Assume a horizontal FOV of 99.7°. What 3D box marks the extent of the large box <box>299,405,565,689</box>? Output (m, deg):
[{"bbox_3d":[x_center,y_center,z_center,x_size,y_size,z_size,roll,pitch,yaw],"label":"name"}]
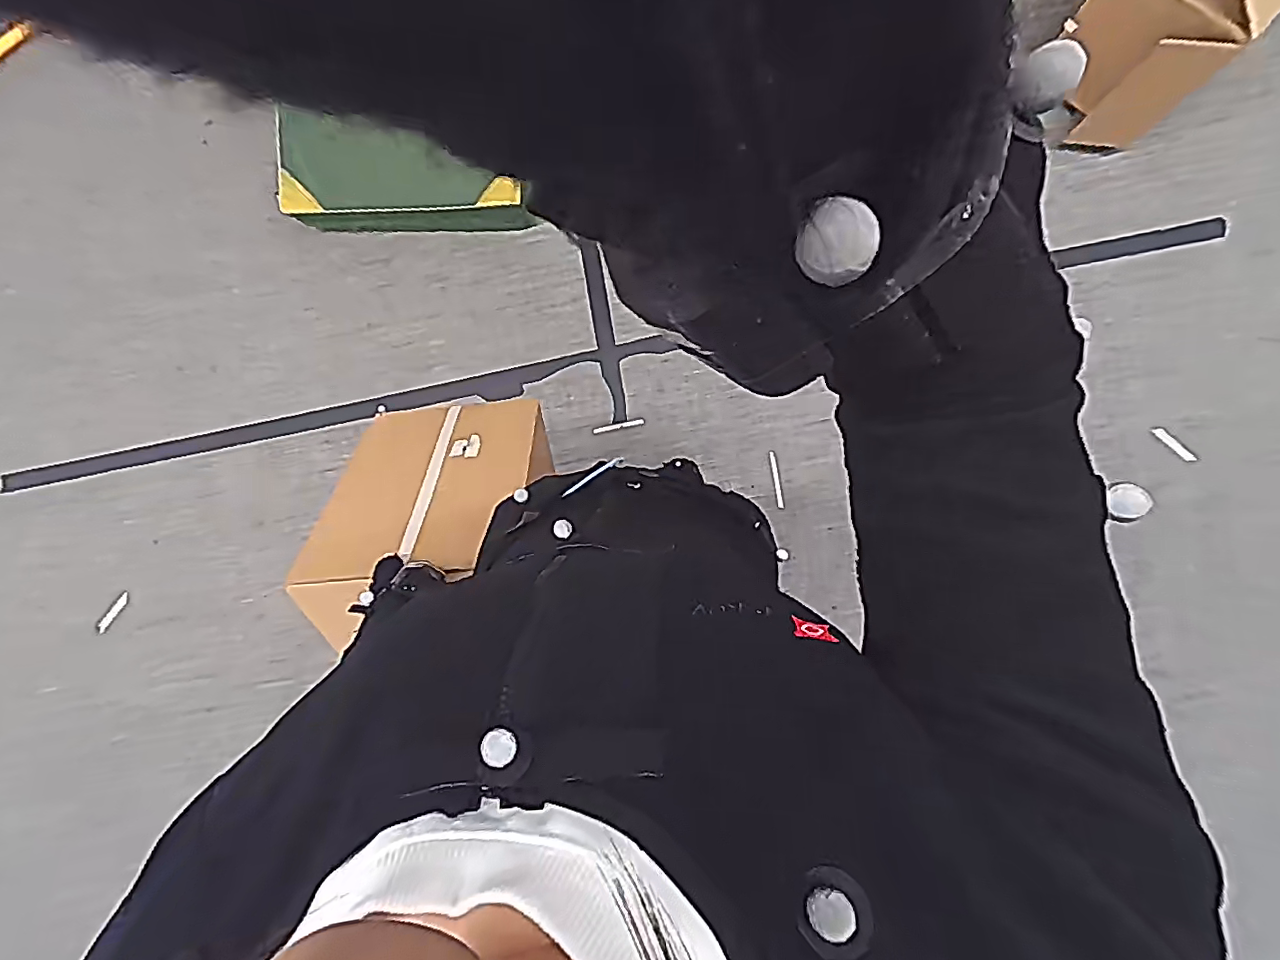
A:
[{"bbox_3d":[-0.323,0.112,0.990,0.320,0.408,0.320,-4,131,1],"label":"large box"}]
